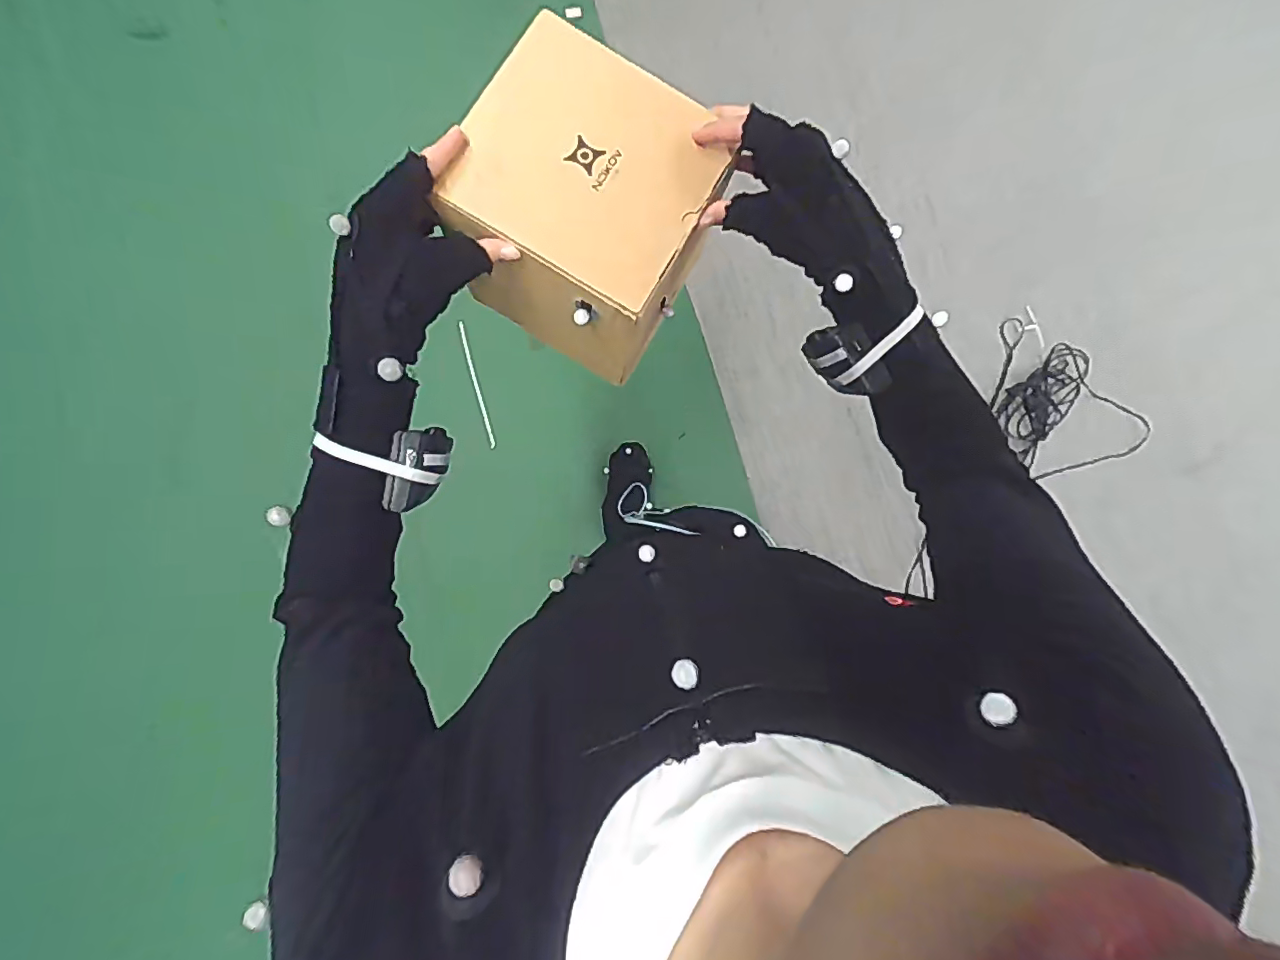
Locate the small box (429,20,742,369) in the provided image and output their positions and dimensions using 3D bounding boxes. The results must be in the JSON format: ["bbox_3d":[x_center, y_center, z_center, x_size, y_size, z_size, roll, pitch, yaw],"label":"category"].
[{"bbox_3d":[-0.046,-0.223,0.472,0.179,0.176,0.168,31,80,-3],"label":"small box"}]
